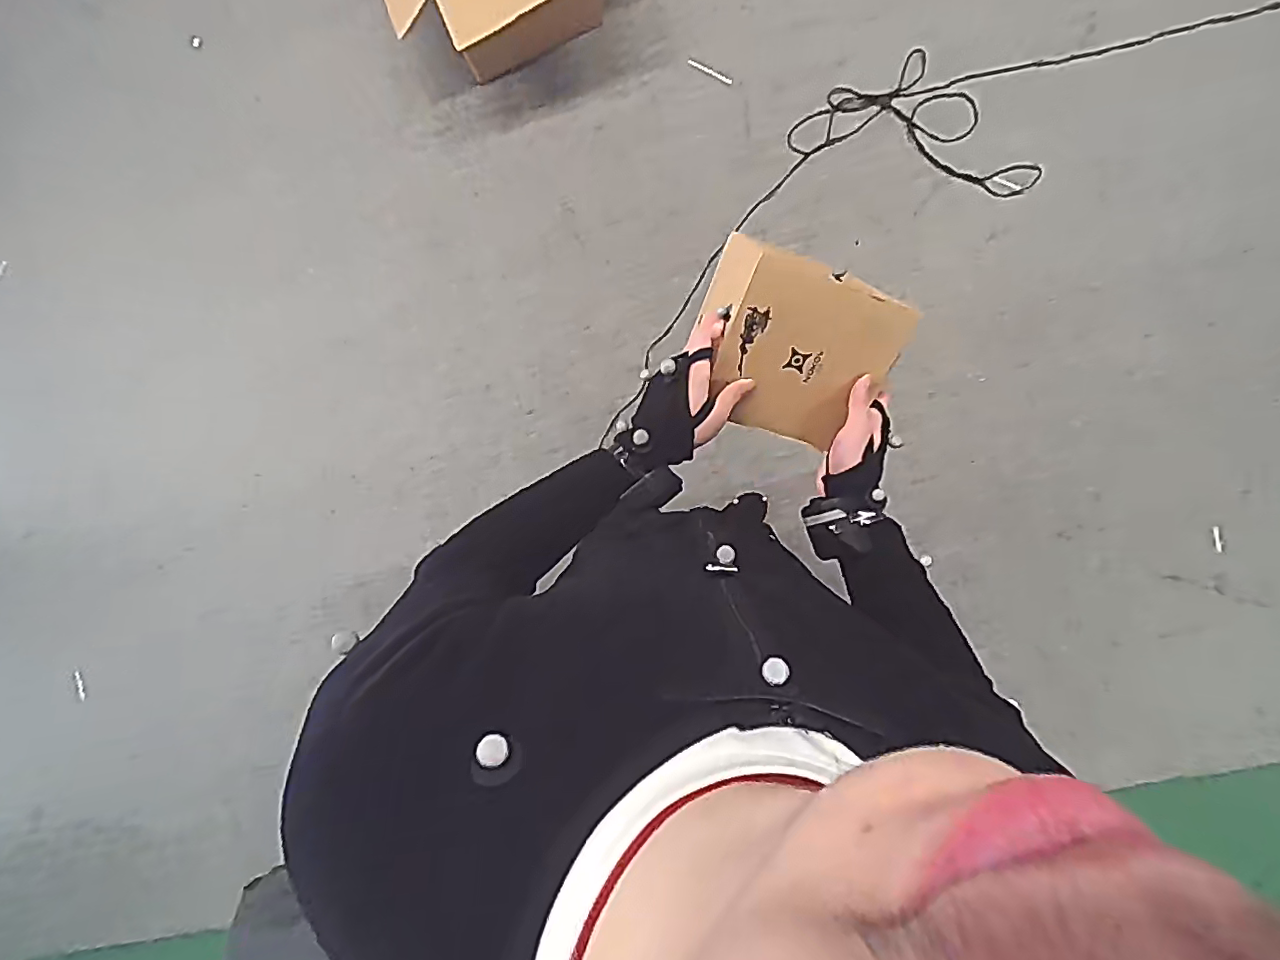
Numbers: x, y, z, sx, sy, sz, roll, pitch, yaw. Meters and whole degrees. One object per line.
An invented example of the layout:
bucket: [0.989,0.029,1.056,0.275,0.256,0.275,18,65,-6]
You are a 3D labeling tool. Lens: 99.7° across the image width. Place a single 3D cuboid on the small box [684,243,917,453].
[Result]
small box: [0.164,-0.158,0.619,0.179,0.176,0.168,15,117,-11]
